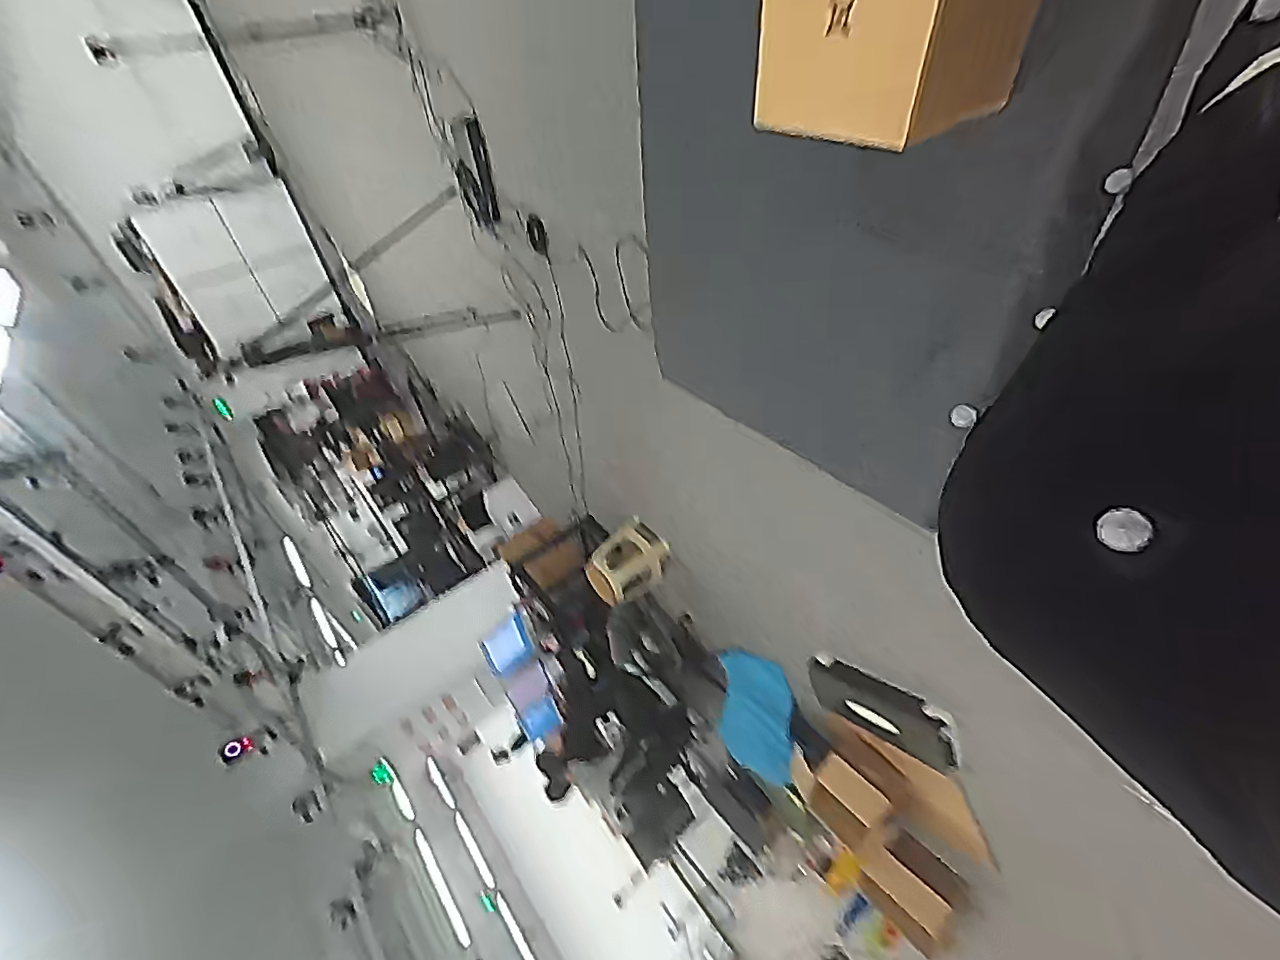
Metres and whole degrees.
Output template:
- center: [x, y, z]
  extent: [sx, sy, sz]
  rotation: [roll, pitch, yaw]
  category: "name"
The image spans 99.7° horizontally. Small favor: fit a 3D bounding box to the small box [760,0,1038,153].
- center: [0.227, -0.411, 0.468]
  extent: [0.168, 0.176, 0.179]
  rotation: [39, 148, 36]
  category: "small box"
